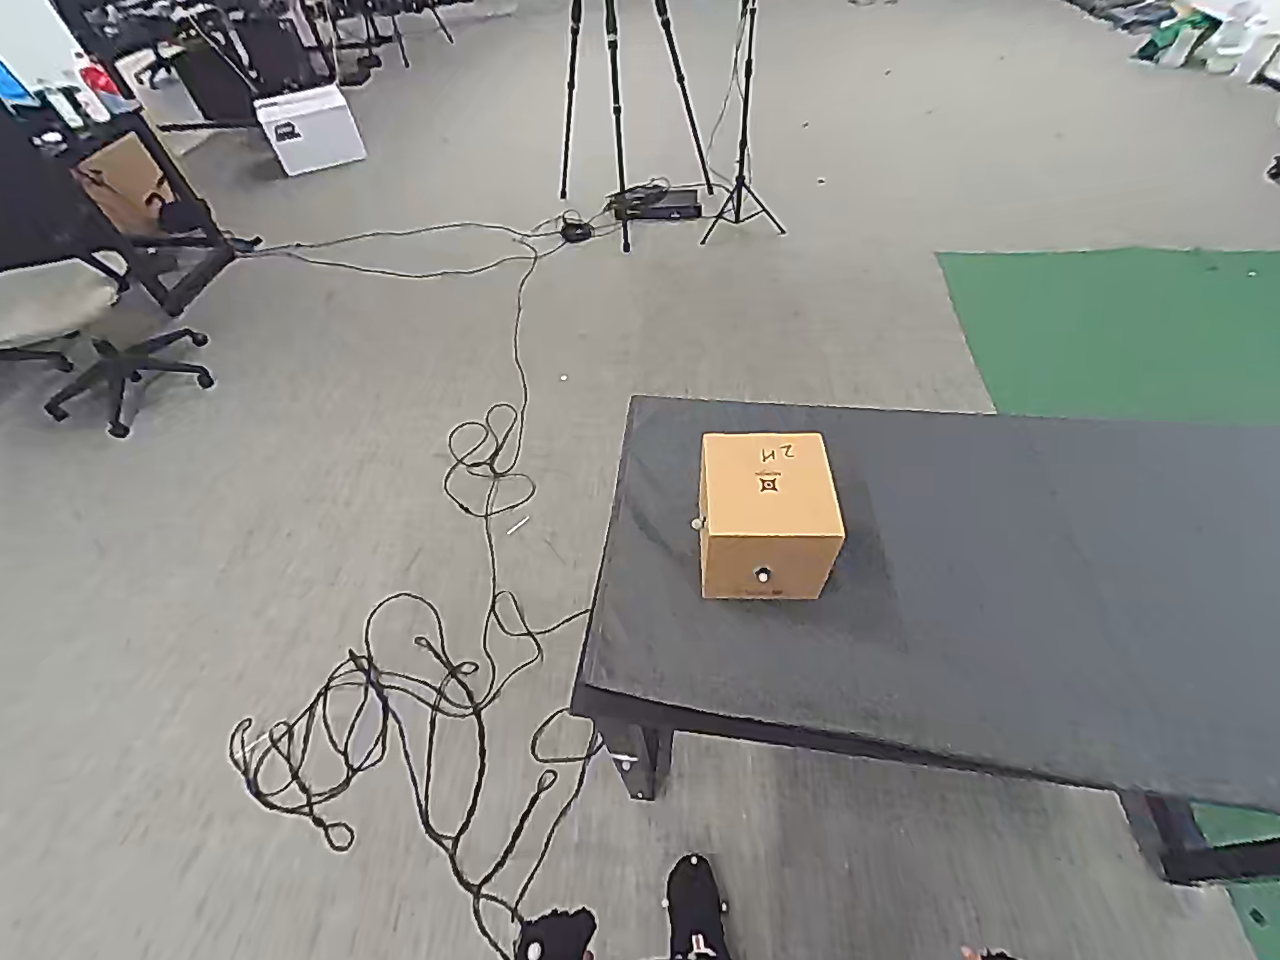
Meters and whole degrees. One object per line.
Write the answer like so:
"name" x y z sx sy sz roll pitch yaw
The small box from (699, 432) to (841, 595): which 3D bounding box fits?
"small box" 0.171 0.051 0.769 0.168 0.176 0.179 0 50 3
